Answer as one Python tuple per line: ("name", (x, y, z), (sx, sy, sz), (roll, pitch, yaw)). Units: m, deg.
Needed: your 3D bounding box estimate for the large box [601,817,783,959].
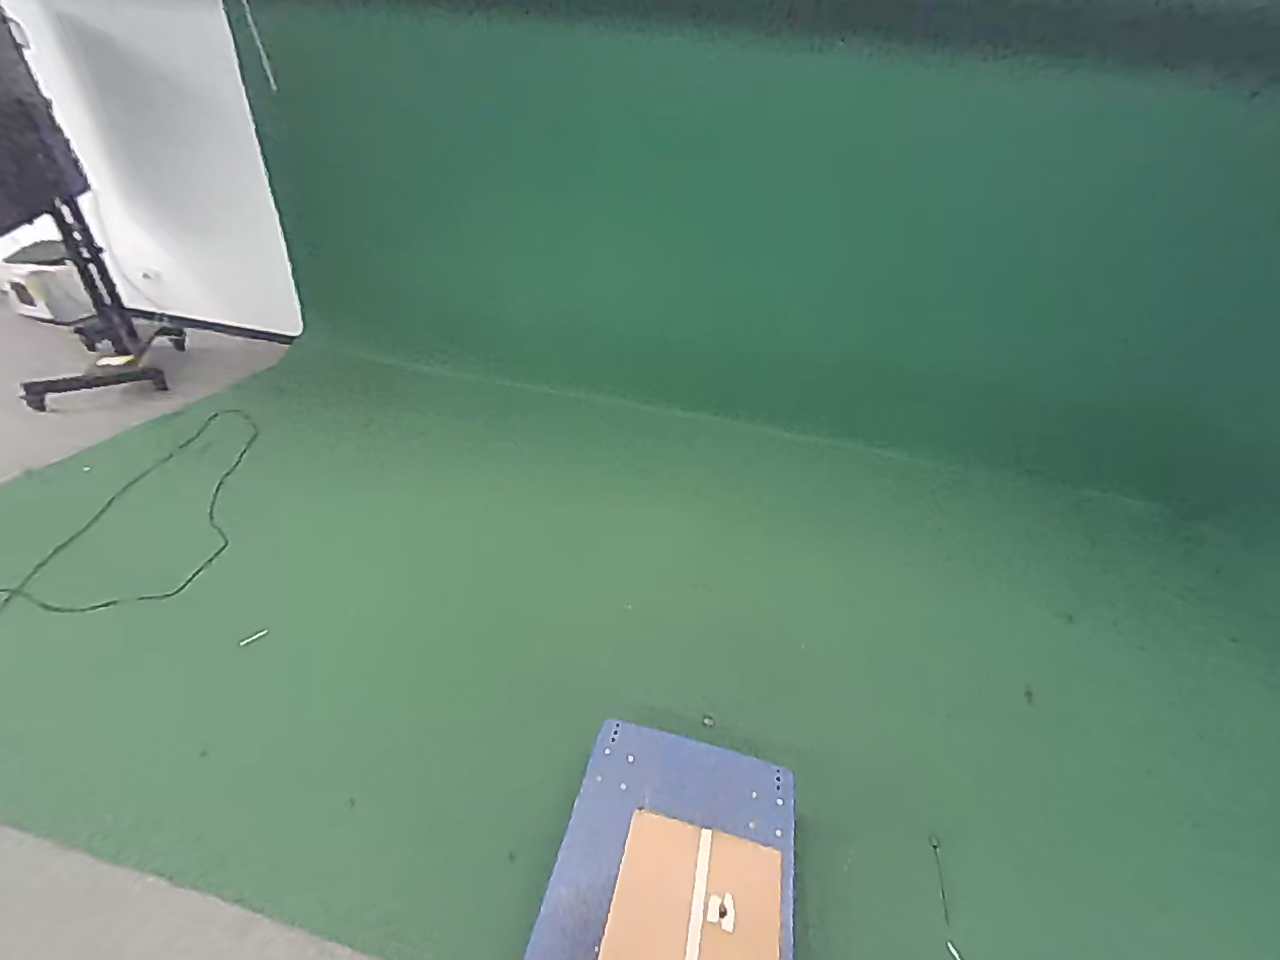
("large box", (0.080, 0.956, 1.018), (0.320, 0.320, 0.408), (12, 32, 8))
